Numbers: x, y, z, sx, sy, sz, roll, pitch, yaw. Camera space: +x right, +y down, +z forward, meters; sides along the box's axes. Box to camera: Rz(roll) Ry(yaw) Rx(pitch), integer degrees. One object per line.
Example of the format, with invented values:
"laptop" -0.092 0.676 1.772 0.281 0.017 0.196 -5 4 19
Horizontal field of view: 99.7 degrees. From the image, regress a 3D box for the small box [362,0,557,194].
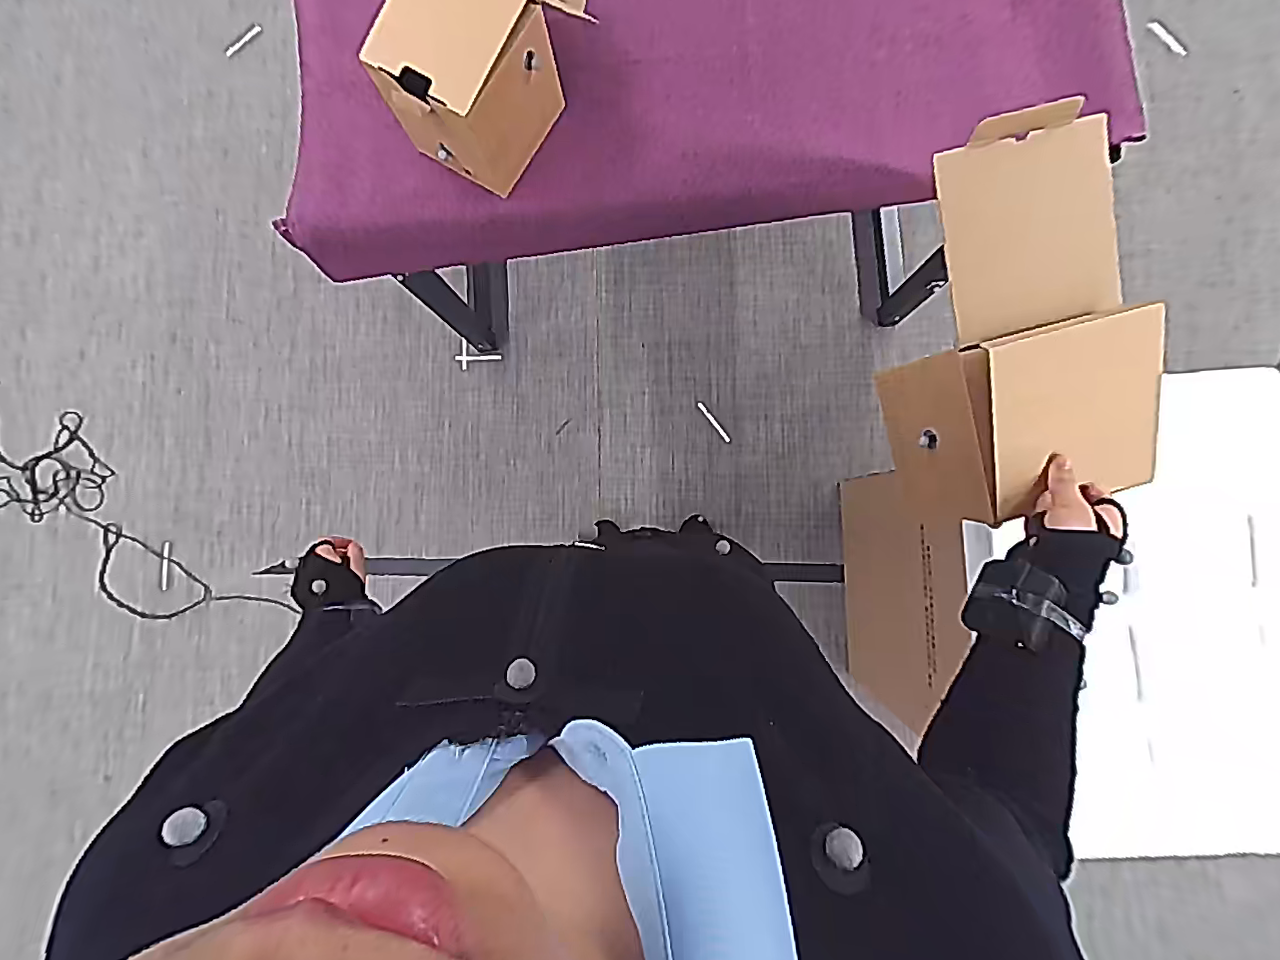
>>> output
"small box" -0.232 -0.549 0.749 0.168 0.176 0.179 31 87 5
